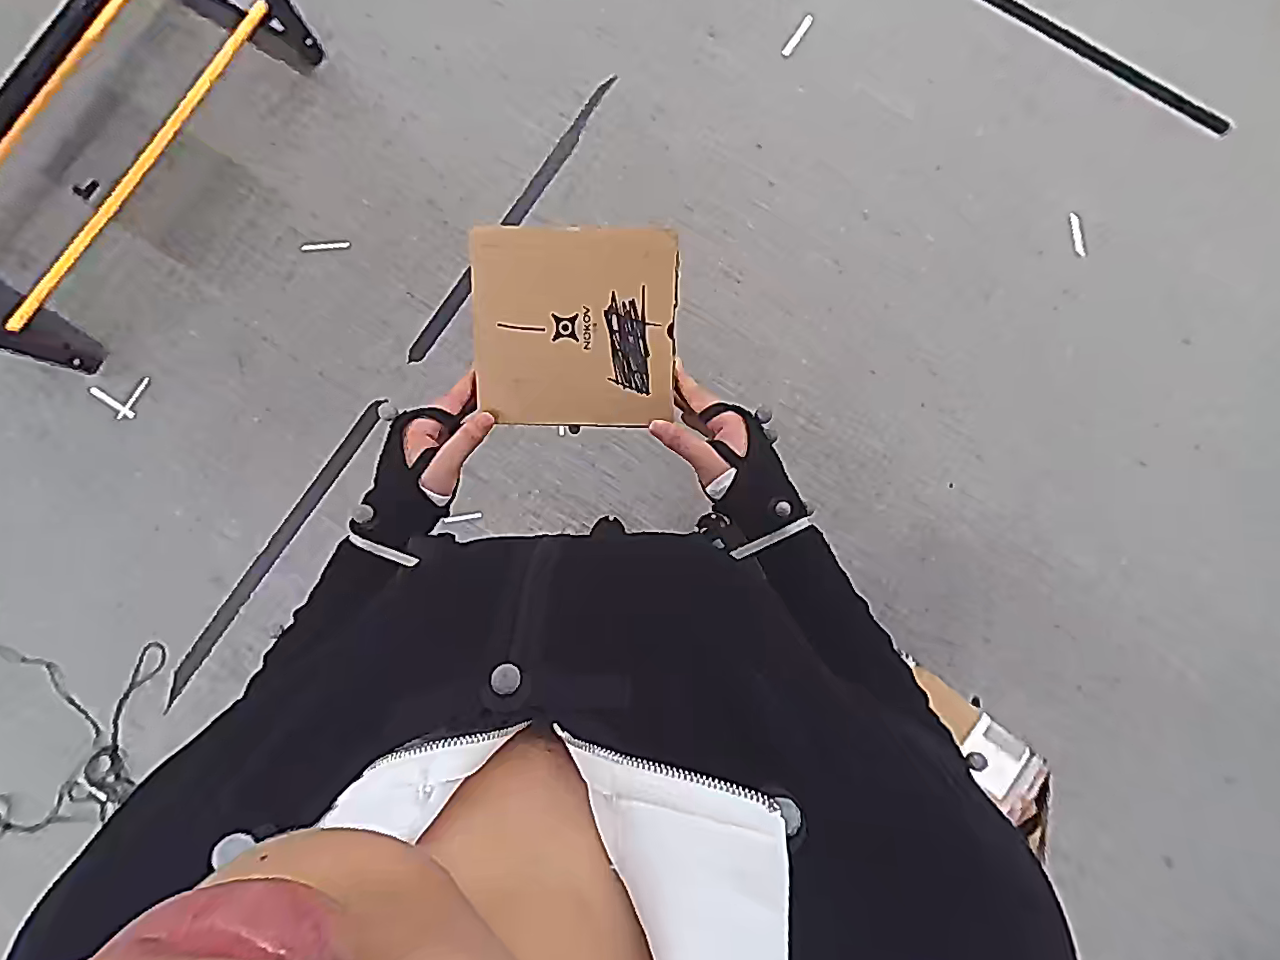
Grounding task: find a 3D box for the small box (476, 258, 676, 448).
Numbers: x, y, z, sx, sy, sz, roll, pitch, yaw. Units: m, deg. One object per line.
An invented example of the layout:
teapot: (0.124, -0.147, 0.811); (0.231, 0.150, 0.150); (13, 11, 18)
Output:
small box: (-0.059, -0.127, 0.563); (0.179, 0.176, 0.168); (1, 101, -1)
